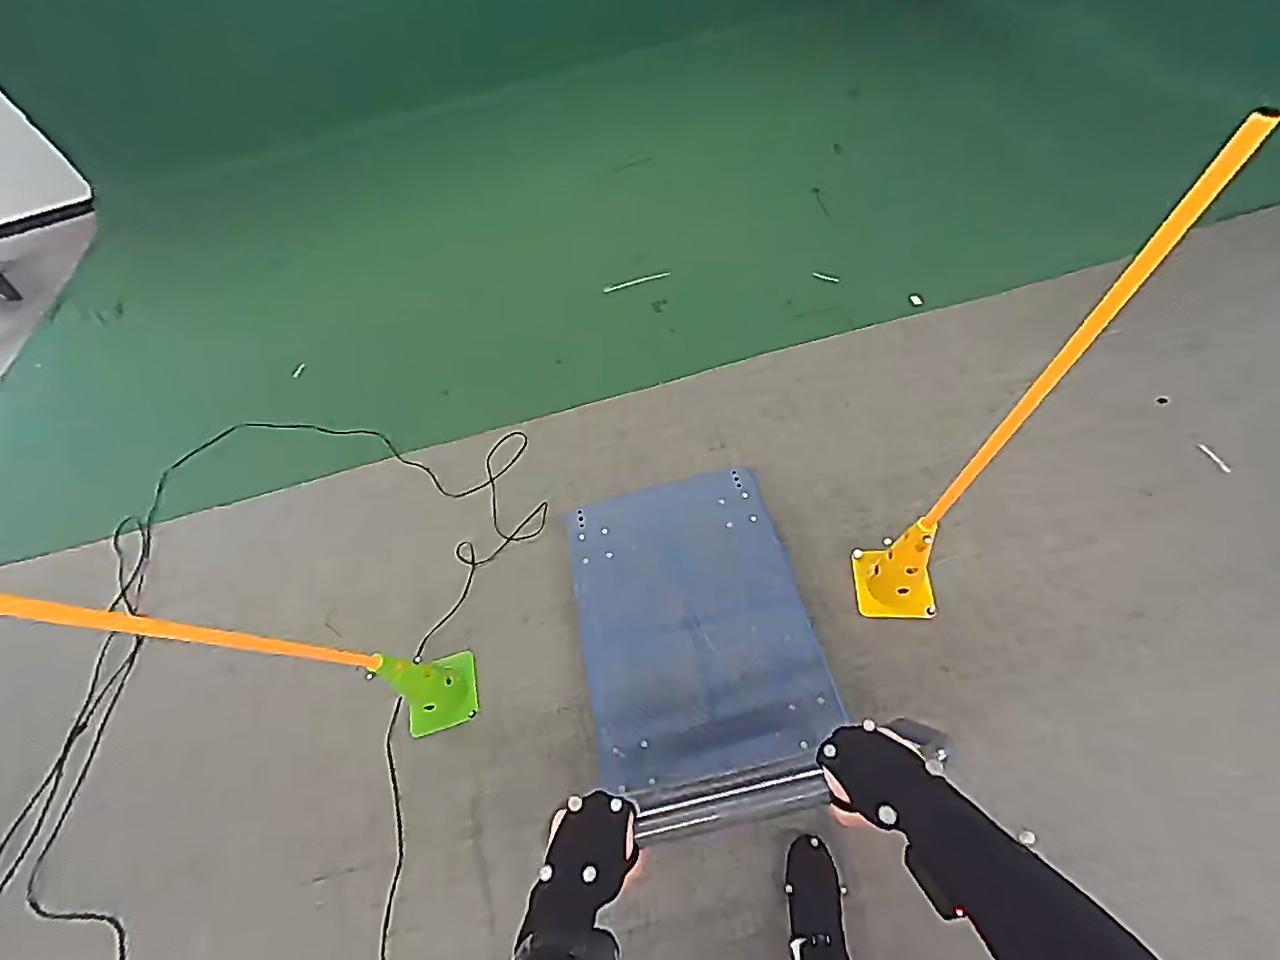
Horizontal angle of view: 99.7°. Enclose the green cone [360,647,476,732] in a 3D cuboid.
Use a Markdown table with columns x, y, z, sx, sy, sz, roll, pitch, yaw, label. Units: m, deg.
| x | y | z | sx | sy | sz | roll | pitch | yaw | label |
| --- | --- | --- | --- | --- | --- | --- | --- | --- | --- |
| -0.610 | 0.515 | 1.432 | 0.202 | 0.368 | 0.200 | -19 | 56 | 0 | green cone |
